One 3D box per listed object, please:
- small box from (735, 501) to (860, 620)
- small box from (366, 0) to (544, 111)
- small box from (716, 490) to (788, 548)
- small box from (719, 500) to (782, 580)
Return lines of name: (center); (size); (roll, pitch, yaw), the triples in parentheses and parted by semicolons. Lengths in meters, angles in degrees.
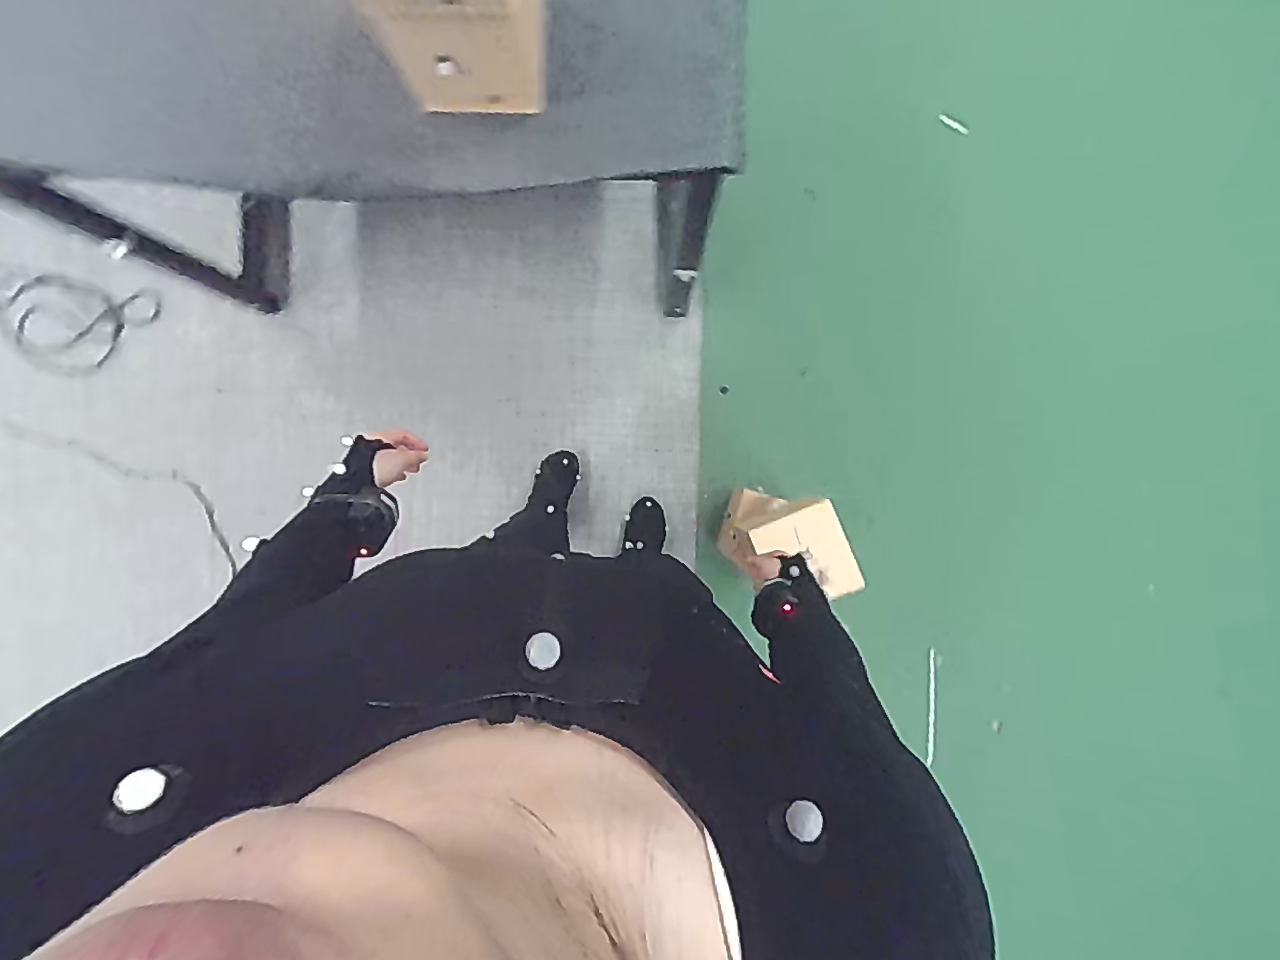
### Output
small box: (0.302, 0.150, 1.071); (0.168, 0.176, 0.179); (-22, 89, 1)
small box: (-0.215, -0.594, 0.669); (0.168, 0.176, 0.179); (1, 88, 0)
small box: (0.308, 0.128, 1.398); (0.179, 0.176, 0.168); (17, 90, 0)
small box: (0.302, 0.159, 1.236); (0.179, 0.176, 0.168); (38, 91, -1)
